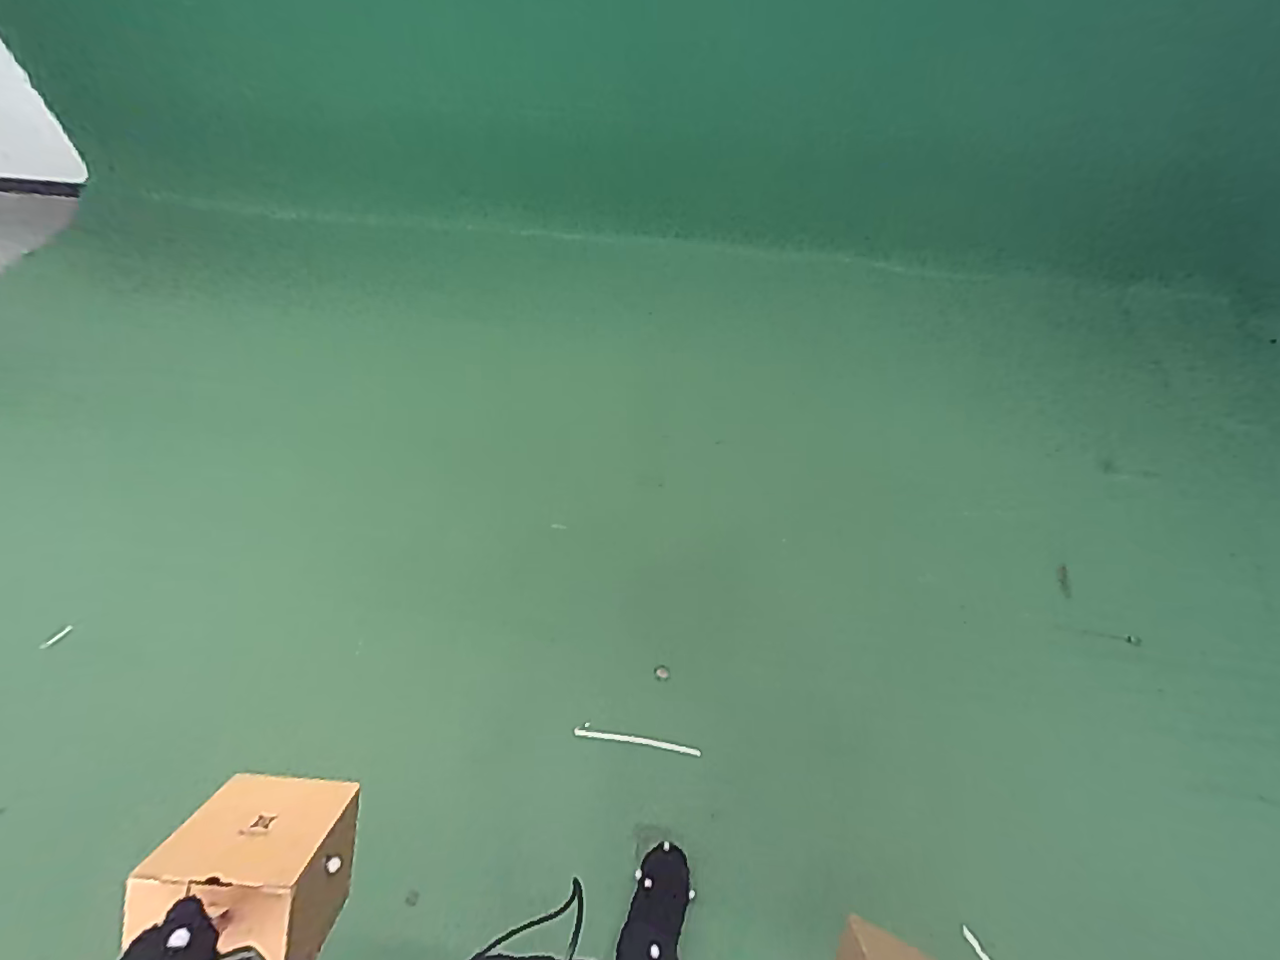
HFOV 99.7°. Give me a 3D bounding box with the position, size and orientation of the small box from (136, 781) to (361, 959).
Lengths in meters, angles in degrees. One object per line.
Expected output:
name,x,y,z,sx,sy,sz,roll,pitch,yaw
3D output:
small box,-0.469,0.507,0.662,0.168,0.179,0.176,7,94,-6
